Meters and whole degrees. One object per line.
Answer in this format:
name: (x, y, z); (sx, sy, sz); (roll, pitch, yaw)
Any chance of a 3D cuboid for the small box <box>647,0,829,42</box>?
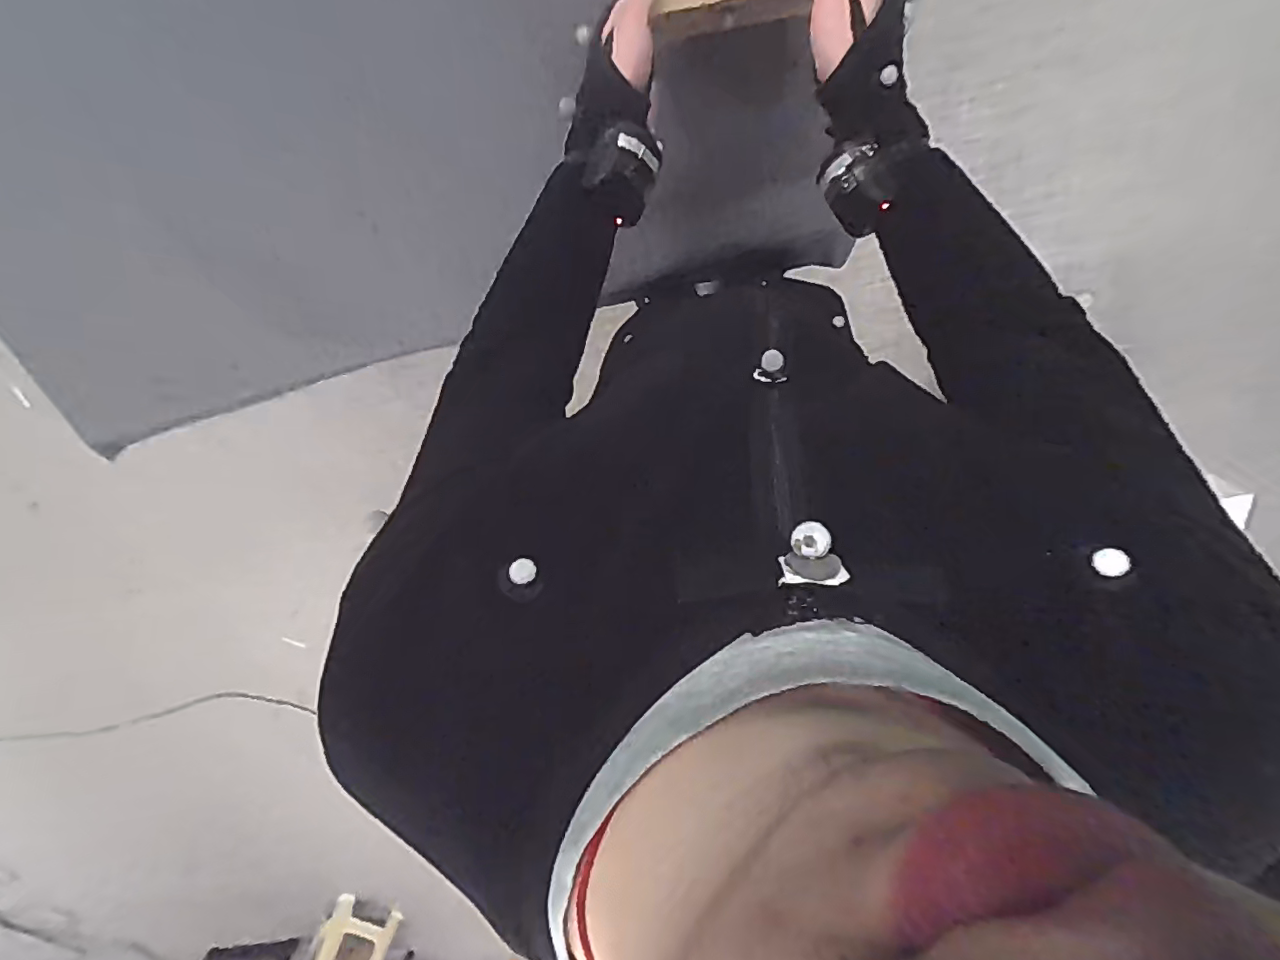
small box: (0.087, -0.485, 0.441); (0.179, 0.176, 0.168); (-6, 122, 7)
